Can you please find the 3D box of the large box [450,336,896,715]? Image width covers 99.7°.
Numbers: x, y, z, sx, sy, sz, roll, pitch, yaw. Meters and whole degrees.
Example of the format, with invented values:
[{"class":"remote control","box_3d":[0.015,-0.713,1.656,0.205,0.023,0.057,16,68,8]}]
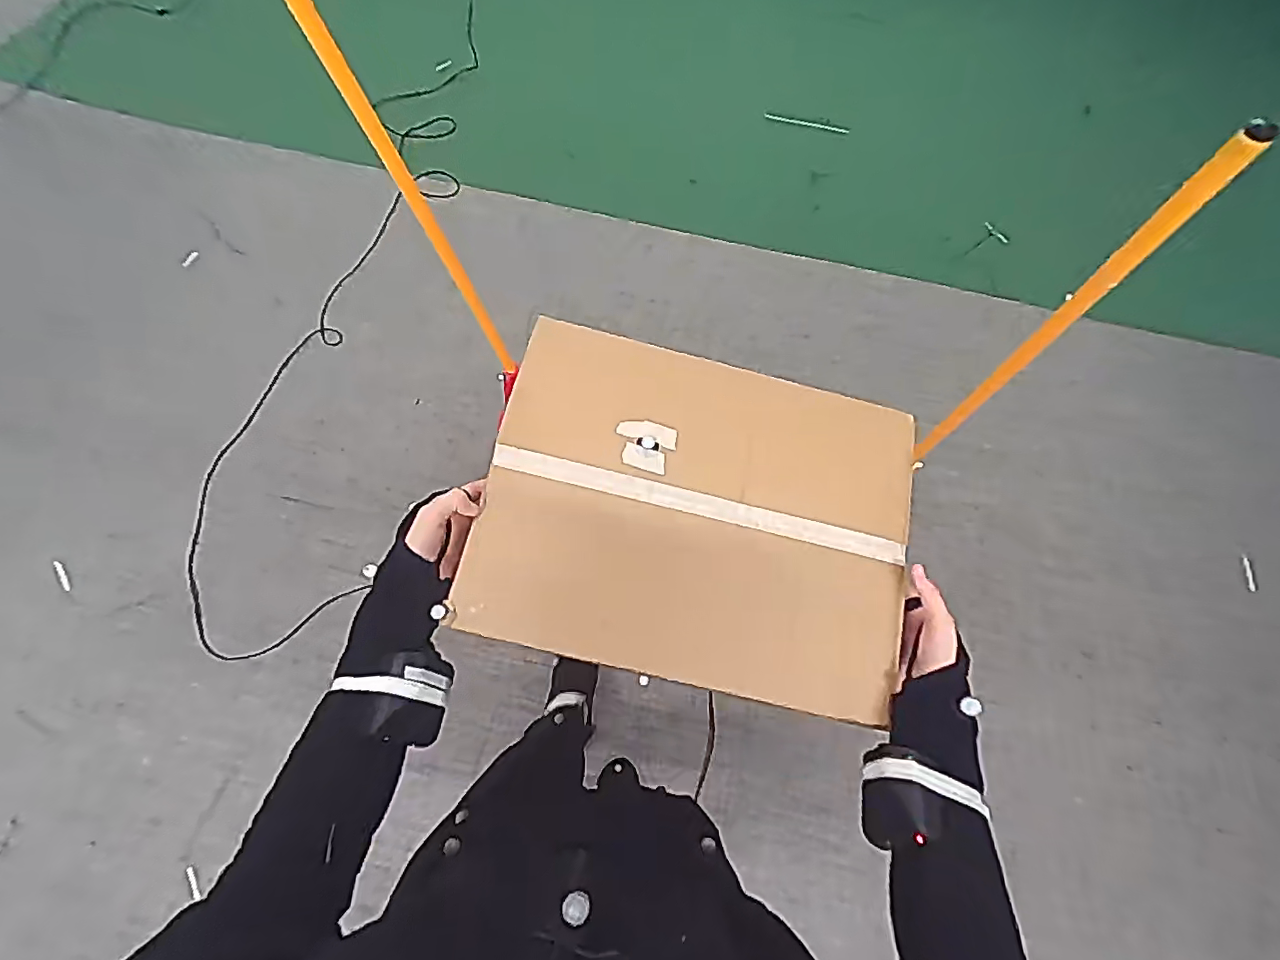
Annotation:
[{"class":"large box","box_3d":[0.040,0.073,0.671,0.408,0.320,0.320,13,72,-2]}]
